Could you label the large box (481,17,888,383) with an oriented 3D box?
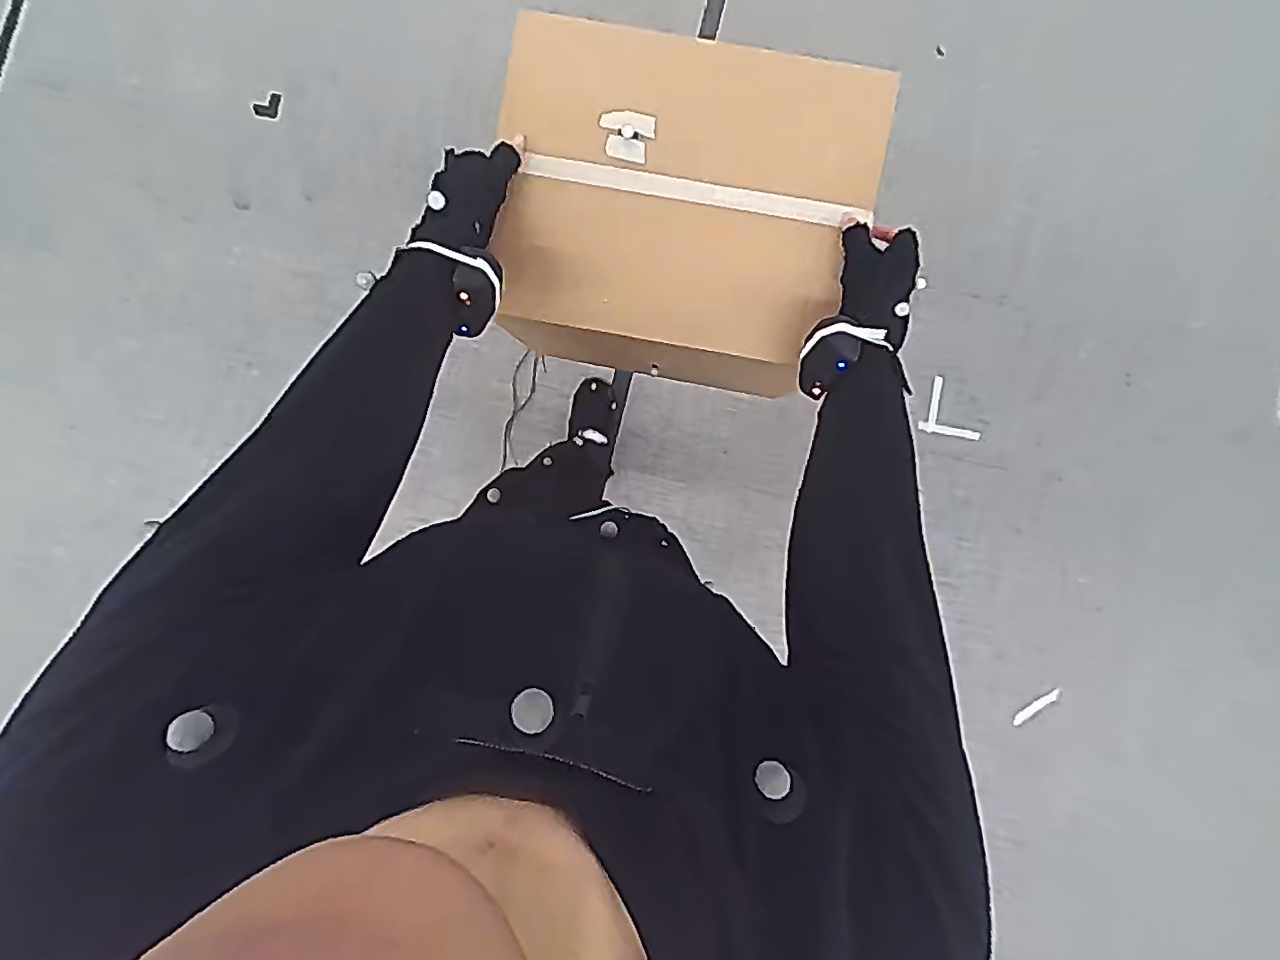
[{"bbox_3d":[0.050,-0.323,0.729,0.408,0.320,0.320,10,94,1],"label":"large box"}]
